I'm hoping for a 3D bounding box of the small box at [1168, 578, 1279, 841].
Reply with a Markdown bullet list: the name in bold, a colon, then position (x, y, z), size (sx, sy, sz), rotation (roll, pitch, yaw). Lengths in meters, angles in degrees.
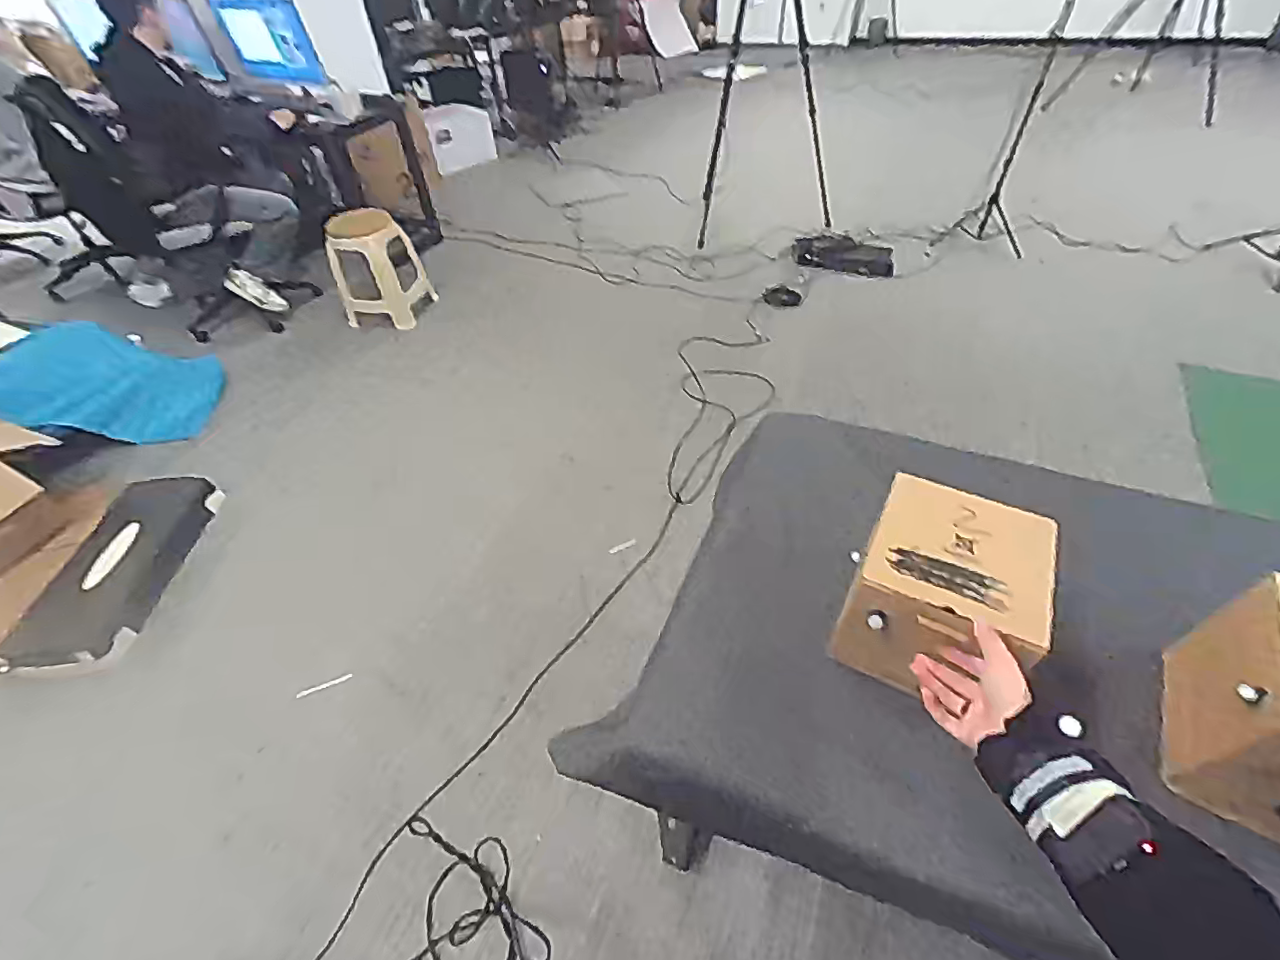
- **small box**: position (0.636, 0.225, 0.495), size (0.168, 0.176, 0.179), rotation (24, 52, 24)
